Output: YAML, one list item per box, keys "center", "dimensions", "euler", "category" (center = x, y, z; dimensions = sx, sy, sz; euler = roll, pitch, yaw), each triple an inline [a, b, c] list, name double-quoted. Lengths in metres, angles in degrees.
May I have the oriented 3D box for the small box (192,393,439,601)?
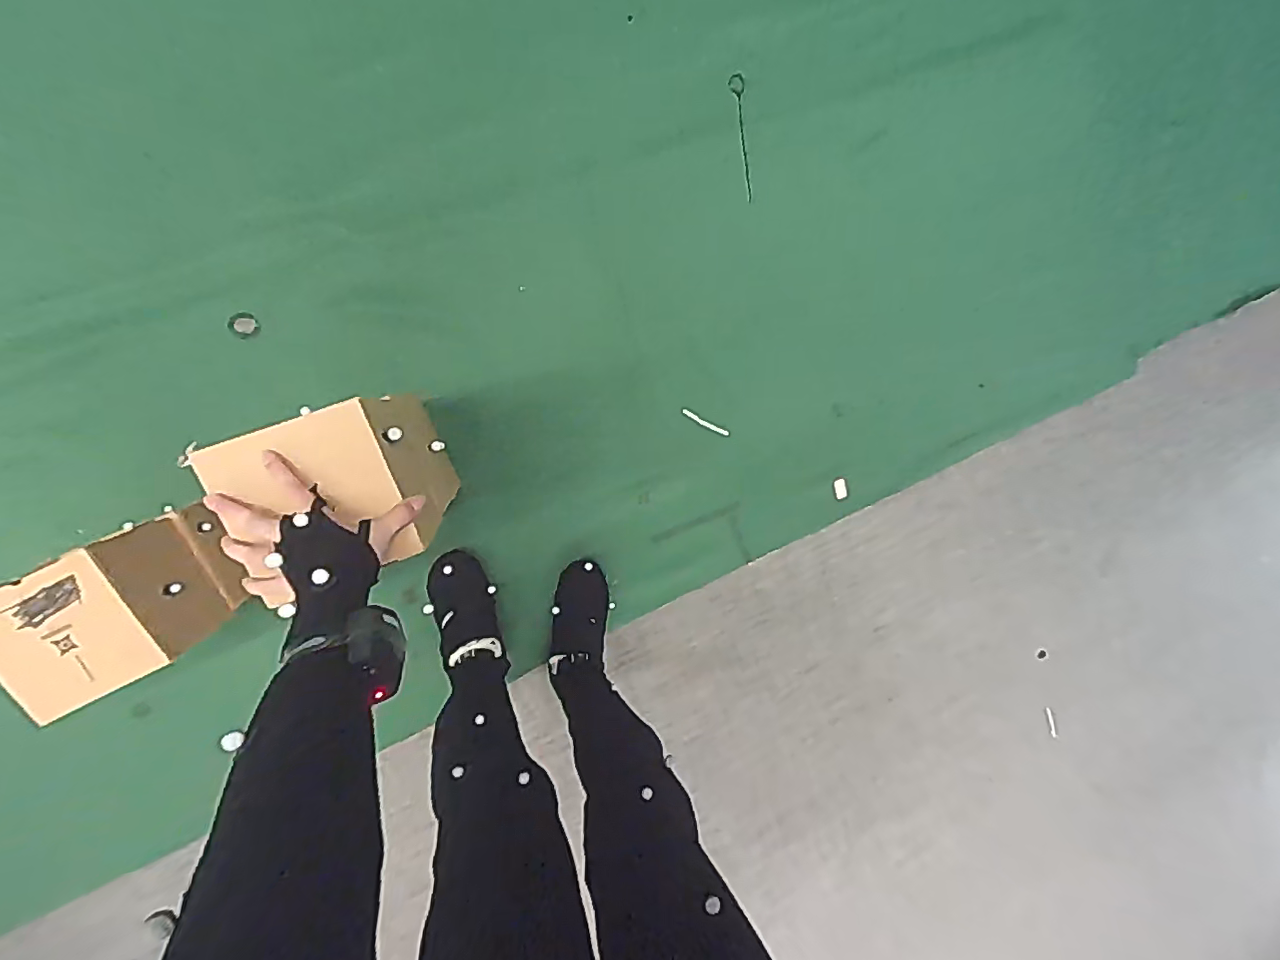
- center: [-0.351, 0.008, 0.628]
  dimensions: [0.168, 0.176, 0.179]
  euler: [-21, 103, -10]
  category: "small box"

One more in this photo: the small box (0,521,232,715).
- center: [-0.718, 0.170, 0.738]
  dimensions: [0.168, 0.176, 0.179]
  euler: [-26, 105, -8]
  category: "small box"

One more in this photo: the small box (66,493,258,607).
- center: [-0.752, 0.133, 0.895]
  dimensions: [0.168, 0.176, 0.179]
  euler: [-23, 104, -9]
  category: "small box"

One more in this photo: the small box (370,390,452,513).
- center: [-0.388, -0.021, 0.785]
  dimensions: [0.168, 0.176, 0.179]
  euler: [-21, 103, -10]
  category: "small box"
